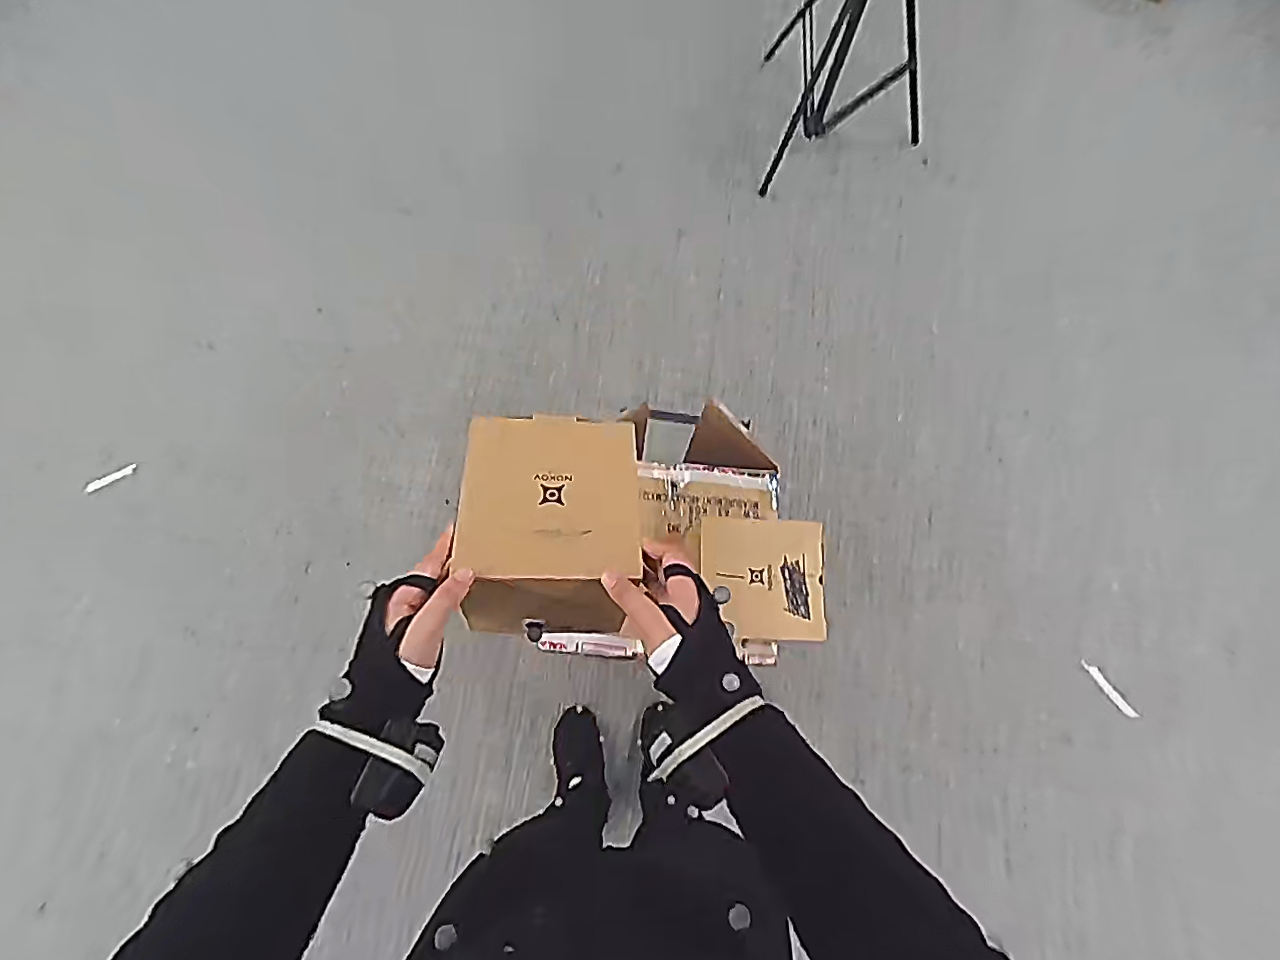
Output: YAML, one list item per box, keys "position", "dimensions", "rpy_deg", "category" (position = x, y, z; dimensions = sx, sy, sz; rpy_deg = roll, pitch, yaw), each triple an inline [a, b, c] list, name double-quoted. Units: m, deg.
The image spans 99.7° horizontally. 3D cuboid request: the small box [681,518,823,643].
- position: [0.162, 0.156, 0.828]
  dimensions: [0.179, 0.176, 0.168]
  rpy_deg: [3, 76, -2]
  category: "small box"
